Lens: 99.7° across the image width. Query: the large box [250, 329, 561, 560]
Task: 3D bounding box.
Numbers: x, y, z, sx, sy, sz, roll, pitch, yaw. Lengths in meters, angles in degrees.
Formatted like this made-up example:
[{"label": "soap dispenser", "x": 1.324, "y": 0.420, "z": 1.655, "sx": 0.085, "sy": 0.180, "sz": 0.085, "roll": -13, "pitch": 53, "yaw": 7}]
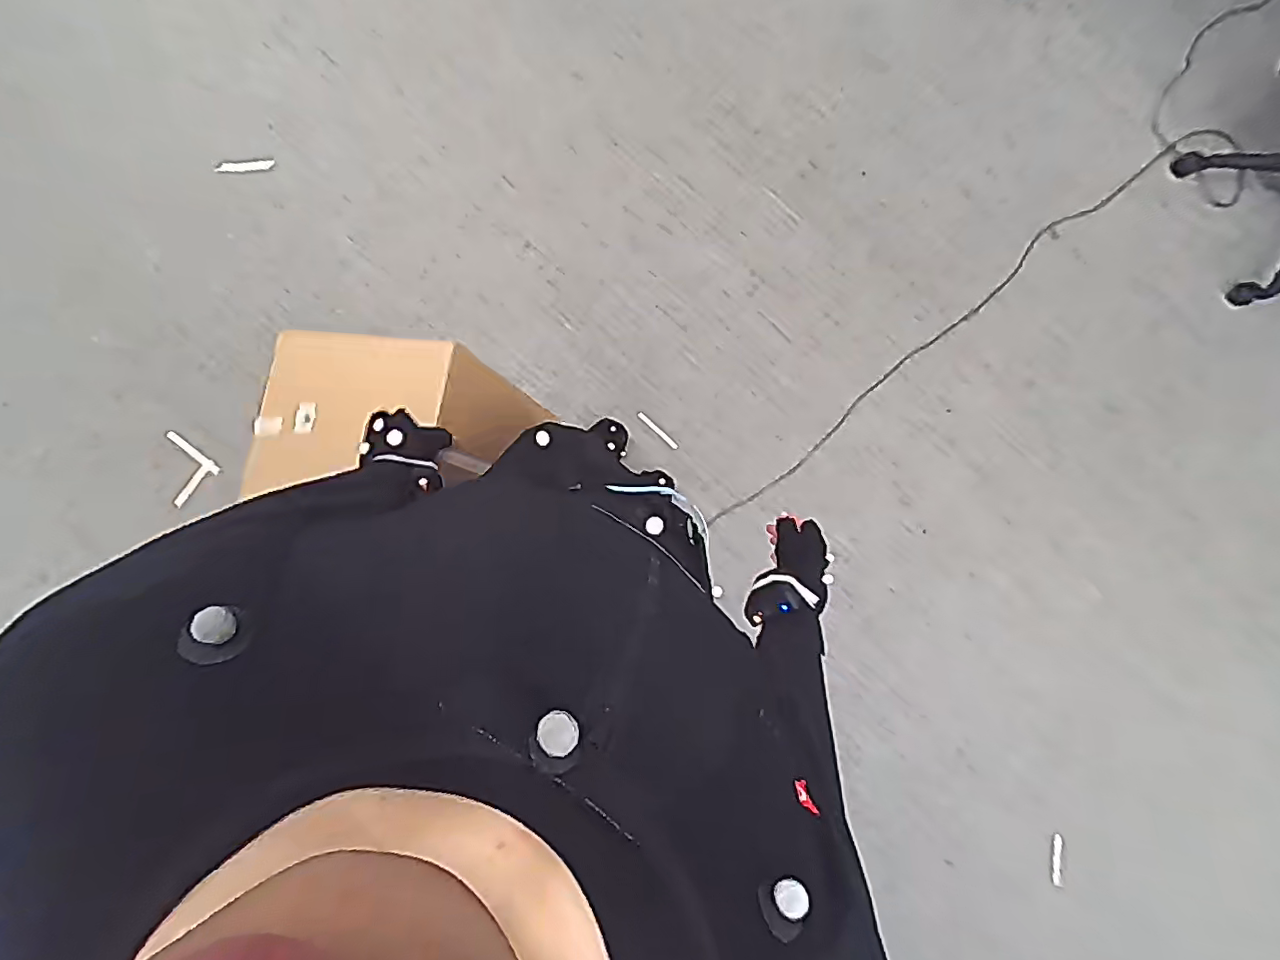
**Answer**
[{"label": "large box", "x": -0.382, "y": -0.040, "z": 0.982, "sx": 0.320, "sy": 0.408, "sz": 0.320, "roll": 12, "pitch": 83, "yaw": 12}]
